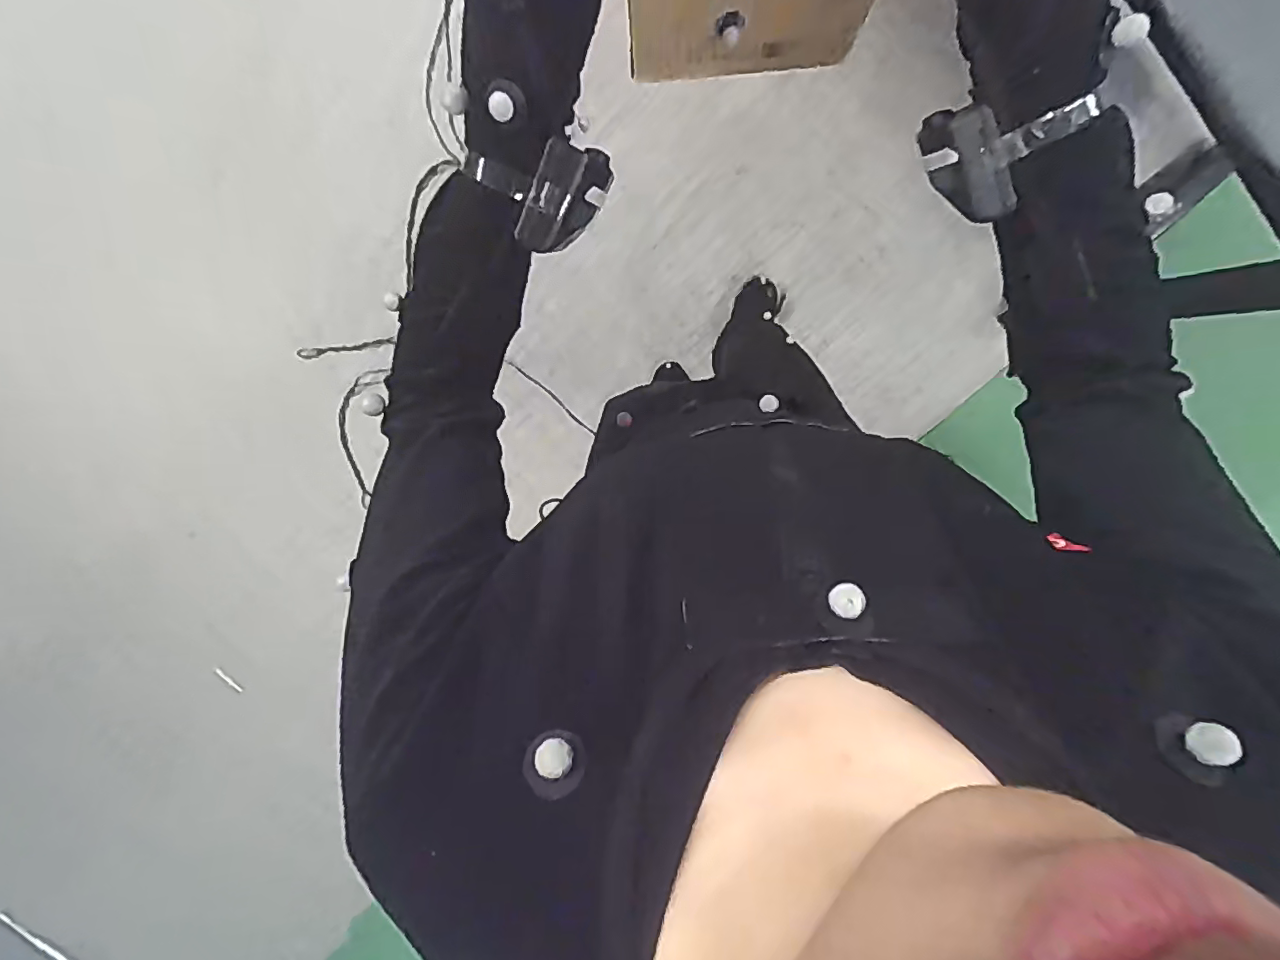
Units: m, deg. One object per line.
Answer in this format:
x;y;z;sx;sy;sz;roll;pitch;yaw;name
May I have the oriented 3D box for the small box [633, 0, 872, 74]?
0.073;-0.401;0.336;0.168;0.176;0.179;-4;97;3;small box
